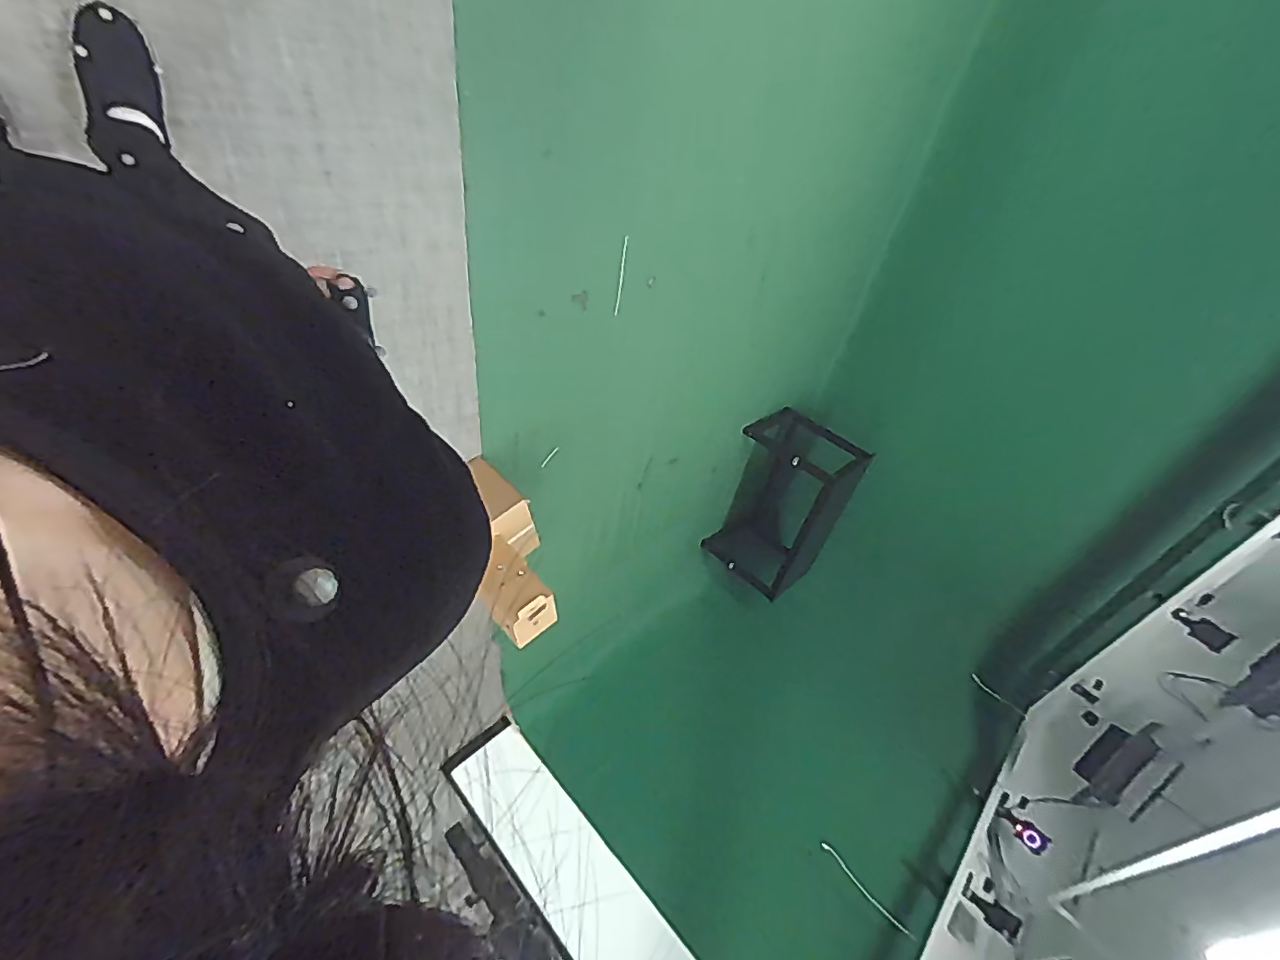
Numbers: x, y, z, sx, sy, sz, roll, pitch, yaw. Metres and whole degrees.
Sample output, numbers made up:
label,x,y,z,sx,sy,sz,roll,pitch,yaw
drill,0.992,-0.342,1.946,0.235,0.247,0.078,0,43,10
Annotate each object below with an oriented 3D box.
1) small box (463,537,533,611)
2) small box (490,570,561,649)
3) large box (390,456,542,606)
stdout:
label,x,y,z,sx,sy,sz,roll,pitch,yaw
small box,-0.498,0.336,1.926,0.179,0.176,0.168,-35,146,-27
small box,-0.392,0.432,1.846,0.168,0.176,0.179,-34,146,-29
large box,-0.647,0.188,2.054,0.408,0.320,0.320,-39,150,-25
